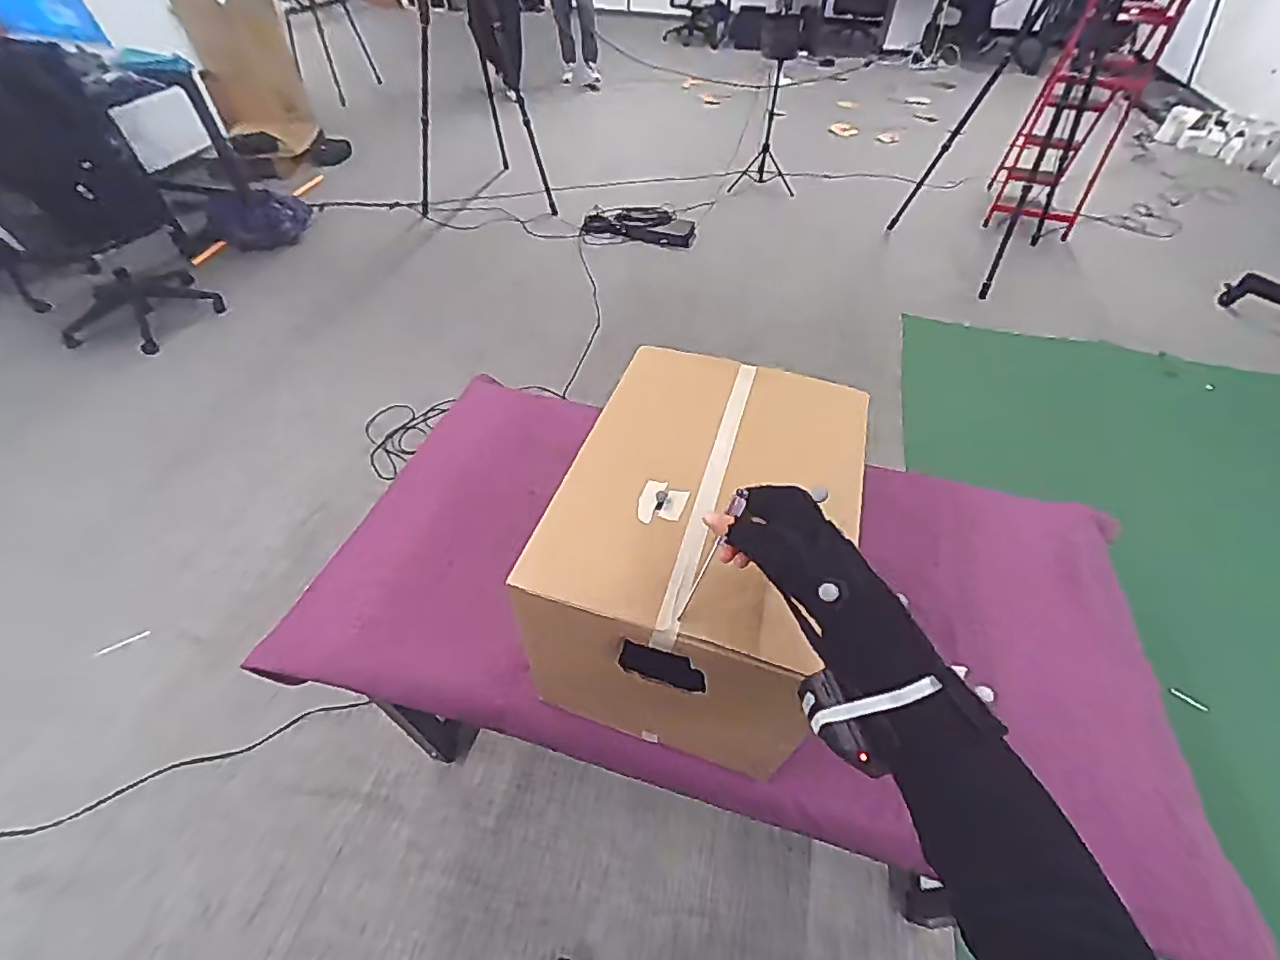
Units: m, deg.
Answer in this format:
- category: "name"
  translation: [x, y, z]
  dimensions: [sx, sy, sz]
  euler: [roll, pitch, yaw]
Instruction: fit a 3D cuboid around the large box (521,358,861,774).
- category: "large box"
  translation: [0.081, 0.103, 0.728]
  dimensions: [0.320, 0.320, 0.408]
  euler: [15, 50, 11]
